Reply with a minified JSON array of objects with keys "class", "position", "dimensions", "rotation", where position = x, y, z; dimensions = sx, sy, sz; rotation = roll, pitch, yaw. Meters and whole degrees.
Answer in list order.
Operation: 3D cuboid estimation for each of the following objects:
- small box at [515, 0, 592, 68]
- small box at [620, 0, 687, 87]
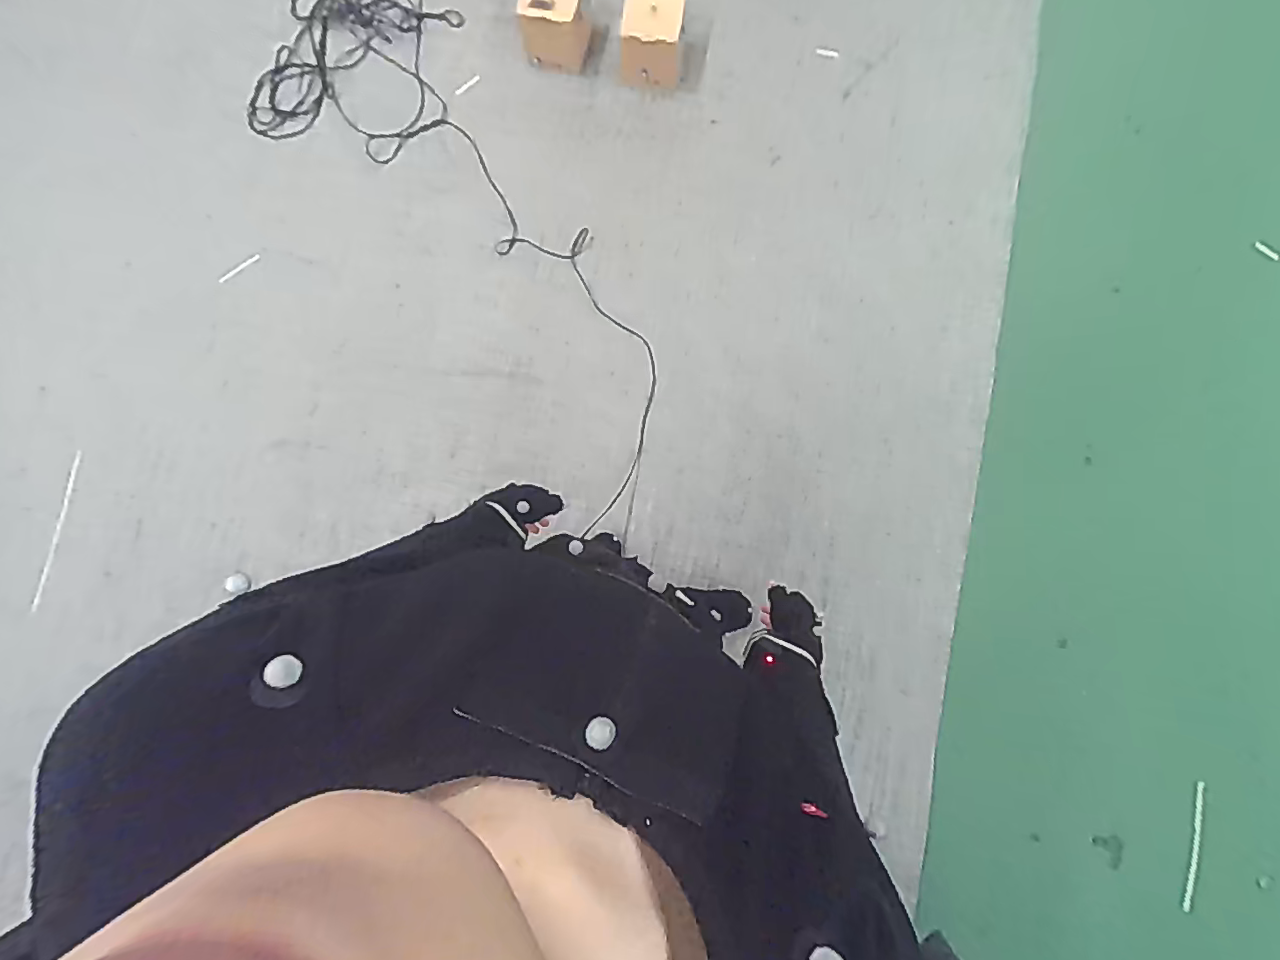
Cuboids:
[{"class":"small box","position":[-0.244,-1.353,1.571],"dimensions":[0.168,0.176,0.179],"rotation":[14,85,3]},{"class":"small box","position":[0.040,-1.288,1.557],"dimensions":[0.168,0.176,0.179],"rotation":[9,85,3]}]
